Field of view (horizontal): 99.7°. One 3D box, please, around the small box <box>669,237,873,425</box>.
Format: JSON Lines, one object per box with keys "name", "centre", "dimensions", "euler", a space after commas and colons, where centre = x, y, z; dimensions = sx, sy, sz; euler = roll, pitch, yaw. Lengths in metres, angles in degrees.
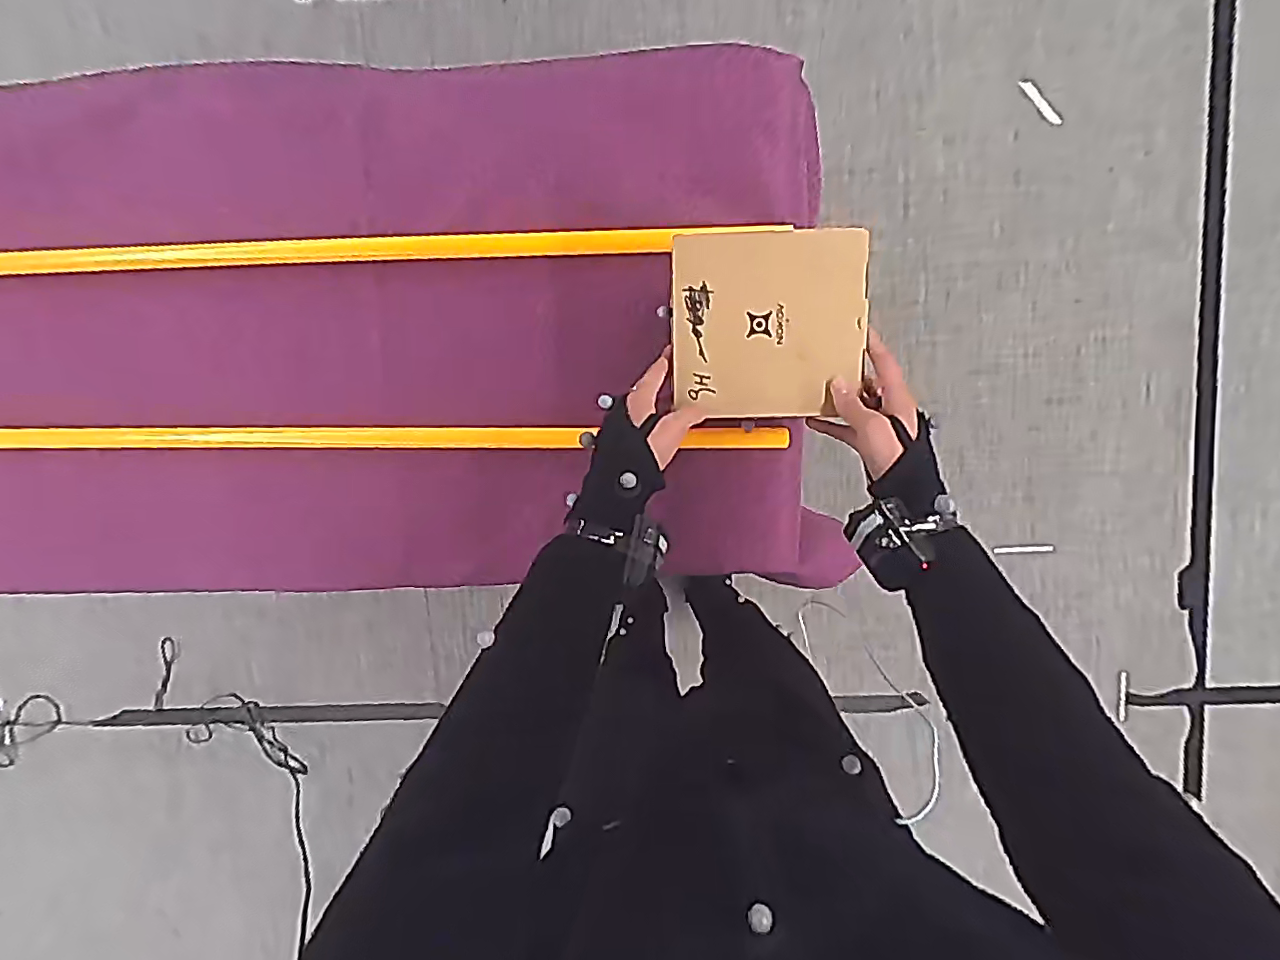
{"name": "small box", "centre": [0.120, -0.142, 0.563], "dimensions": [0.179, 0.176, 0.168], "euler": [0, 96, 3]}
